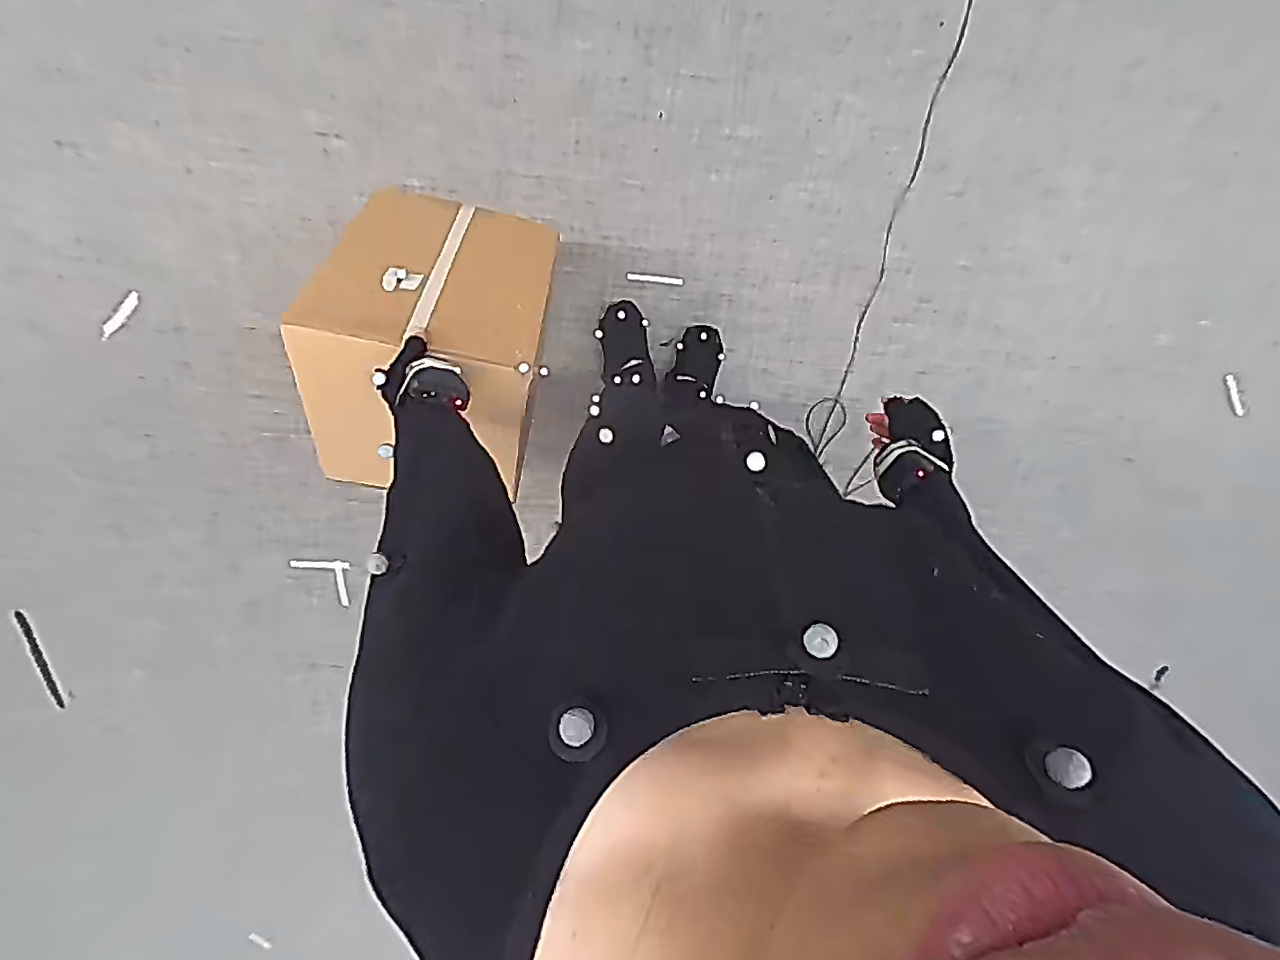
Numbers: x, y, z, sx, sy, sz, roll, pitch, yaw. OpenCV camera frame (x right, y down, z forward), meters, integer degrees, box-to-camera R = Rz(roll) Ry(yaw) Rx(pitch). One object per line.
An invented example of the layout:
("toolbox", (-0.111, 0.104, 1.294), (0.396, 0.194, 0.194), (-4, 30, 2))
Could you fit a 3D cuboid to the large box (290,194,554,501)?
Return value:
("large box", (-0.341, -0.228, 0.953), (0.320, 0.408, 0.320), (9, 140, -10))
